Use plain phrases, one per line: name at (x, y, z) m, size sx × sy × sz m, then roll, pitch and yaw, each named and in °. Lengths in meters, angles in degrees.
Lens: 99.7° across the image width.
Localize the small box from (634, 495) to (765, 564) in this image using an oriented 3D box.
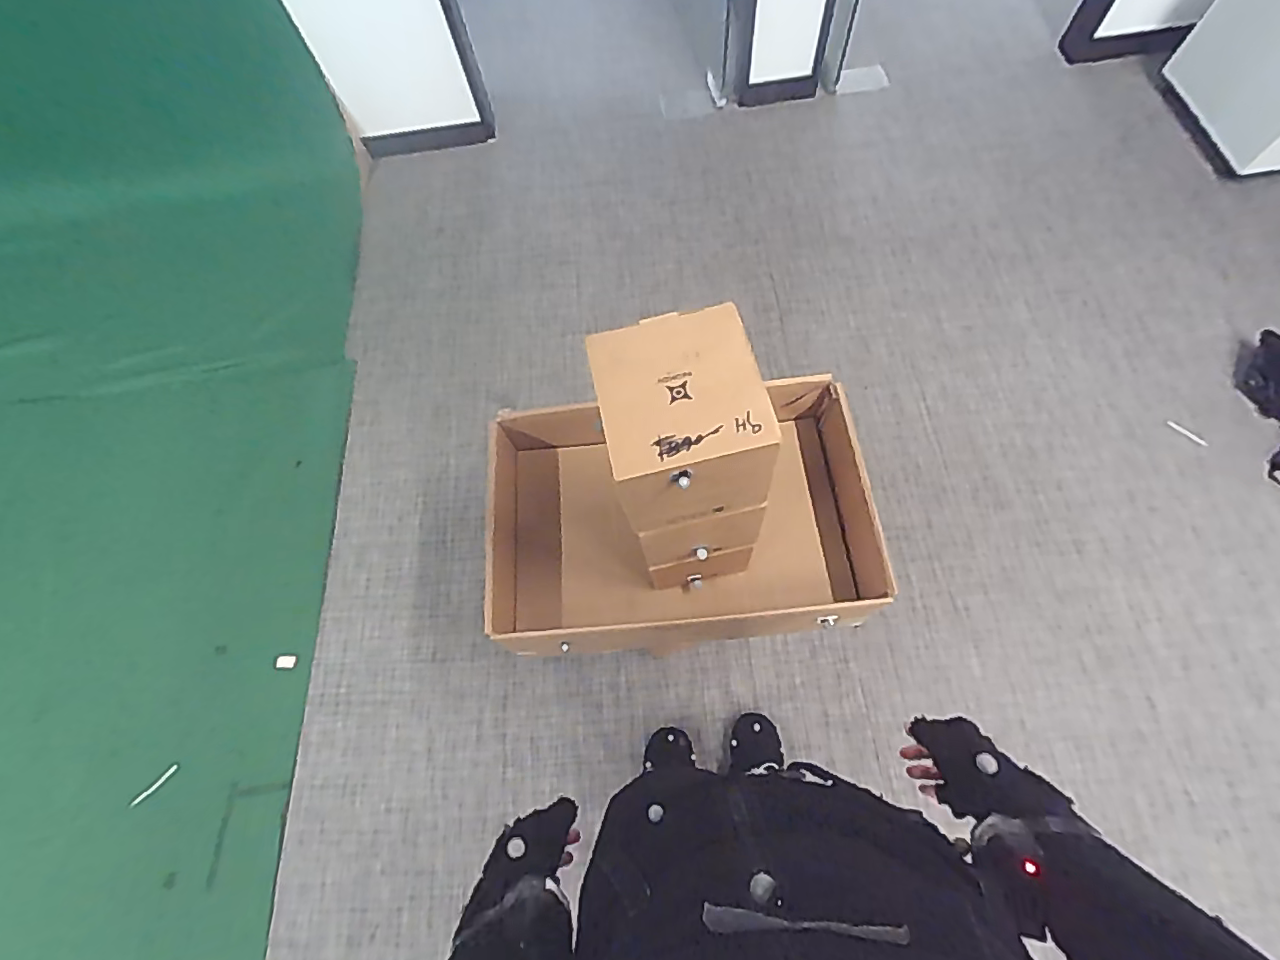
small box at (0.068, 0.003, 0.771) m, size 0.168 × 0.176 × 0.179 m, roll -13°, pitch 67°, yaw 2°

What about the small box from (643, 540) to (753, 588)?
small box at (0.083, 0.069, 0.920) m, size 0.168 × 0.176 × 0.179 m, roll -13°, pitch 67°, yaw 1°

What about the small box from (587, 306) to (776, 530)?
small box at (0.045, -0.063, 0.623) m, size 0.168 × 0.176 × 0.179 m, roll -14°, pitch 65°, yaw 2°
